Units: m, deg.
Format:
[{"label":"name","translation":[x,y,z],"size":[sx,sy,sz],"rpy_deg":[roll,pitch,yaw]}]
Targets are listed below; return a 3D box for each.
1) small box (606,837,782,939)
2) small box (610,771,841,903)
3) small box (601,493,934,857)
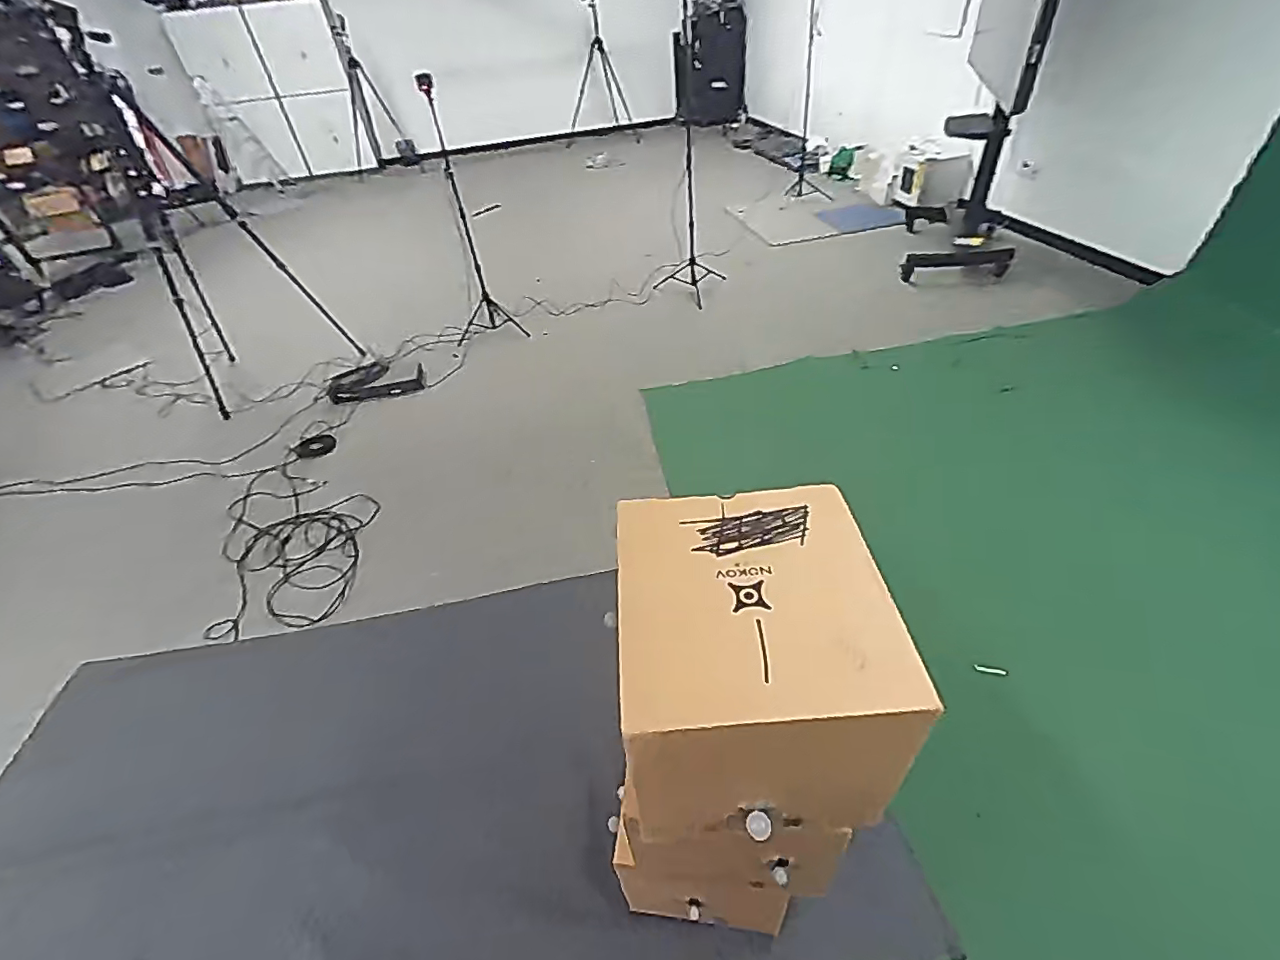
[{"label":"small box","translation":[0.069,0.374,0.599],"size":[0.168,0.176,0.179],"rpy_deg":[2,40,10]},{"label":"small box","translation":[0.072,0.254,0.488],"size":[0.168,0.176,0.179],"rpy_deg":[-1,39,6]},{"label":"small box","translation":[0.065,0.132,0.378],"size":[0.168,0.176,0.179],"rpy_deg":[-5,40,2]}]
